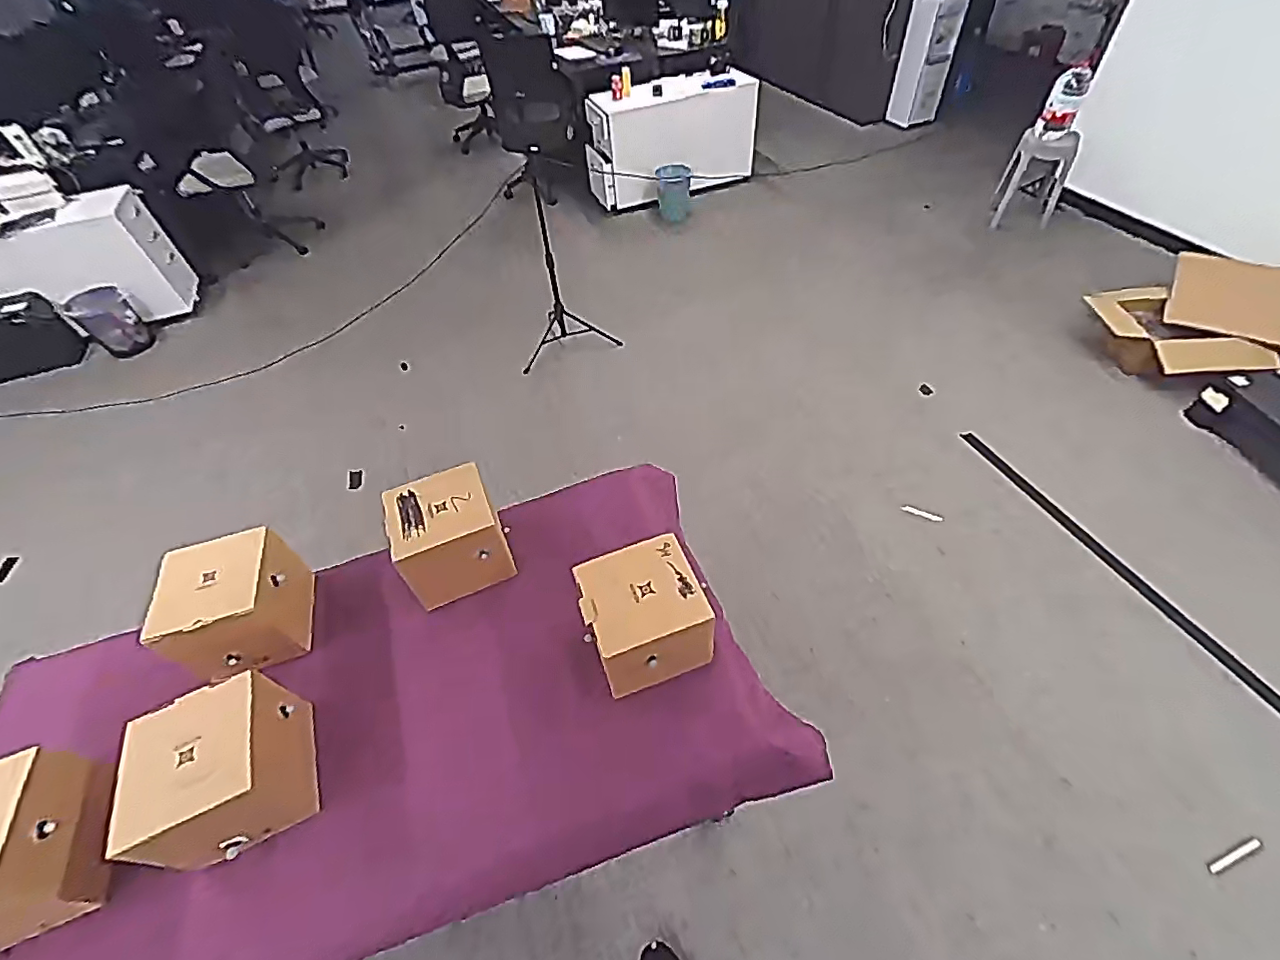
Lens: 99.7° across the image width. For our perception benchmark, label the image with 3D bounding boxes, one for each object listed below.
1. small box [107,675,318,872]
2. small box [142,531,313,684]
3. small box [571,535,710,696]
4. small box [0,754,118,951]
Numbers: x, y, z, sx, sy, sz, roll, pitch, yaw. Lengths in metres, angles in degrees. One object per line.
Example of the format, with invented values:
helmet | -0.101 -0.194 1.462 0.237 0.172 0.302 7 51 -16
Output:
small box | -0.588 0.418 0.771 0.168 0.176 0.179 -23 51 -13
small box | -0.698 0.223 0.943 0.168 0.176 0.179 -17 51 -10
small box | 0.005 0.225 0.879 0.179 0.176 0.168 -19 51 -9
small box | -0.843 0.504 0.718 0.168 0.176 0.179 -20 49 -12
